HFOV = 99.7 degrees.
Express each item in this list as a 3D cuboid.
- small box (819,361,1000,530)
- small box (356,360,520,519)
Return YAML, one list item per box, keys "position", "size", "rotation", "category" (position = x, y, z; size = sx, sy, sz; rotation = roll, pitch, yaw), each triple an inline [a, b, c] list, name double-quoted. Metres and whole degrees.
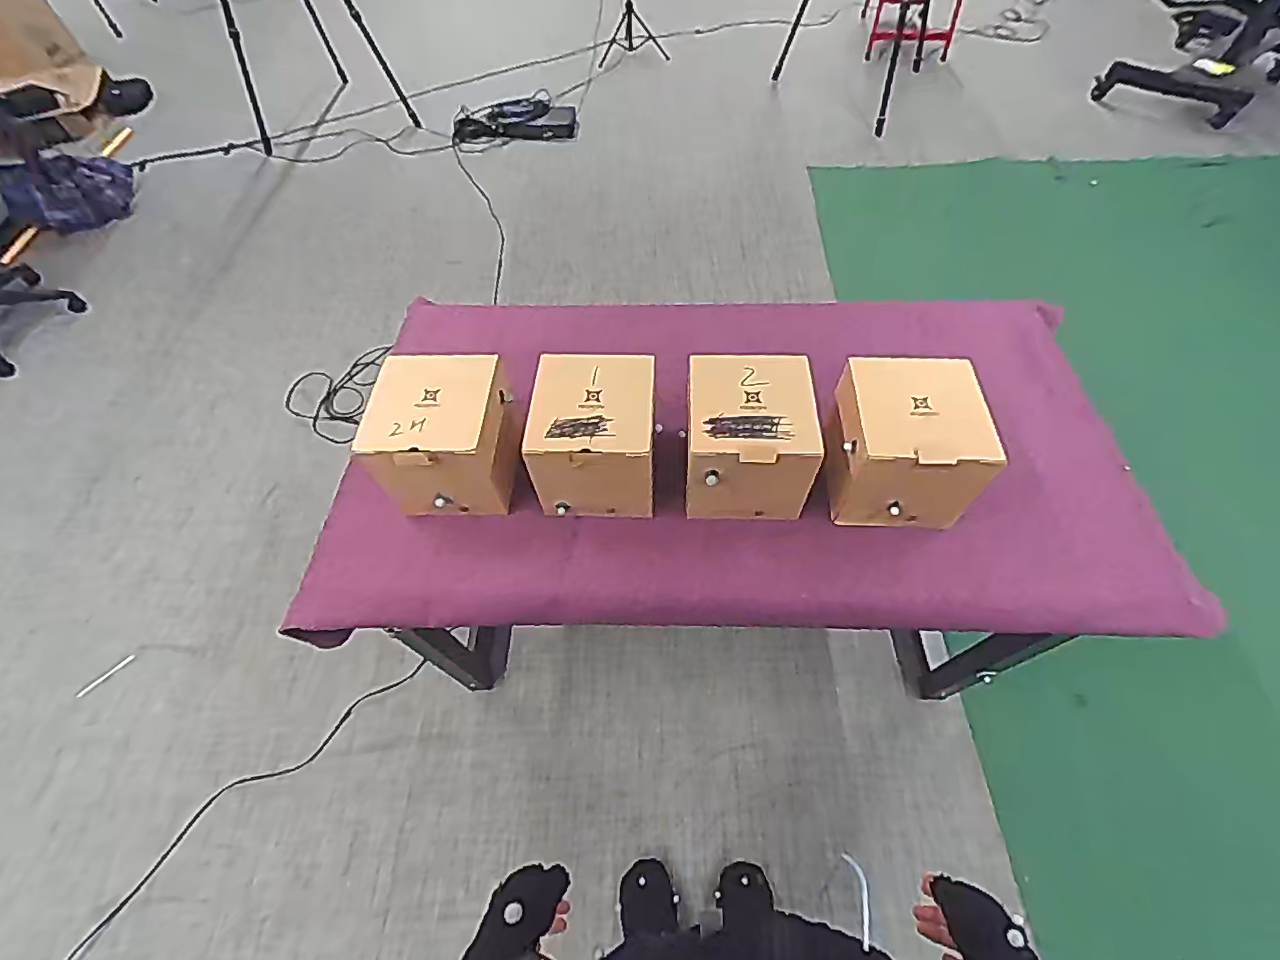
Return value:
- position: [0.364, -0.048, 0.773]
  size: [0.168, 0.176, 0.179]
  rotation: [2, 57, 4]
  category: "small box"
- position: [-0.284, -0.058, 0.809]
  size: [0.168, 0.176, 0.179]
  rotation: [0, 57, 3]
  category: "small box"
